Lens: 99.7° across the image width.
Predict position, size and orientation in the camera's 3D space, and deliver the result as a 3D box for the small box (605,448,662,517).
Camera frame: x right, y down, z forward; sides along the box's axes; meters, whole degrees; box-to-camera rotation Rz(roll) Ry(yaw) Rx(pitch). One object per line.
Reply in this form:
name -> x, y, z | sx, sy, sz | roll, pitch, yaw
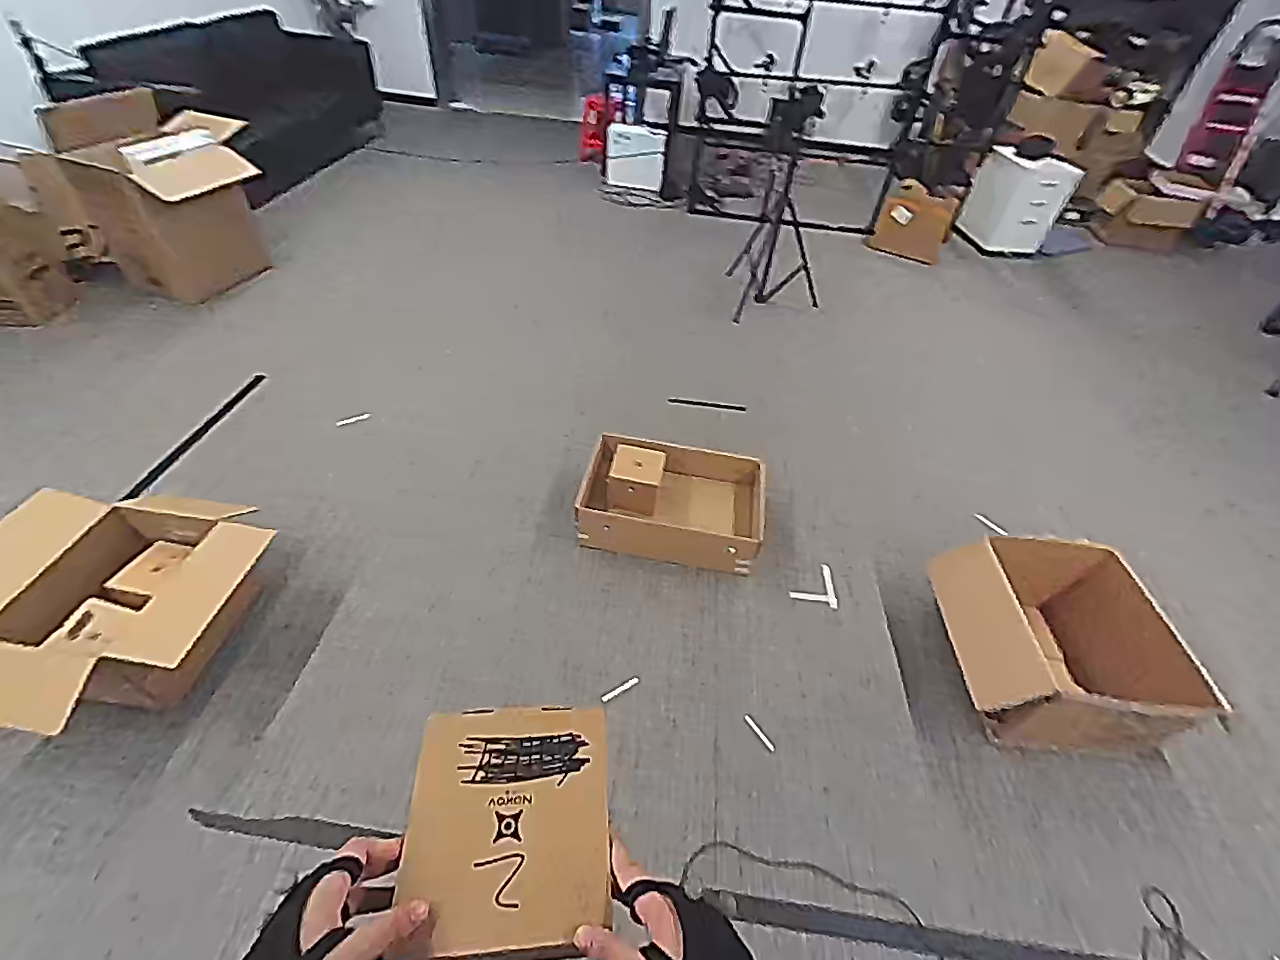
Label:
small box -> -0.026, 0.012, 1.954 | 0.179, 0.176, 0.168 | 11, 47, 2
